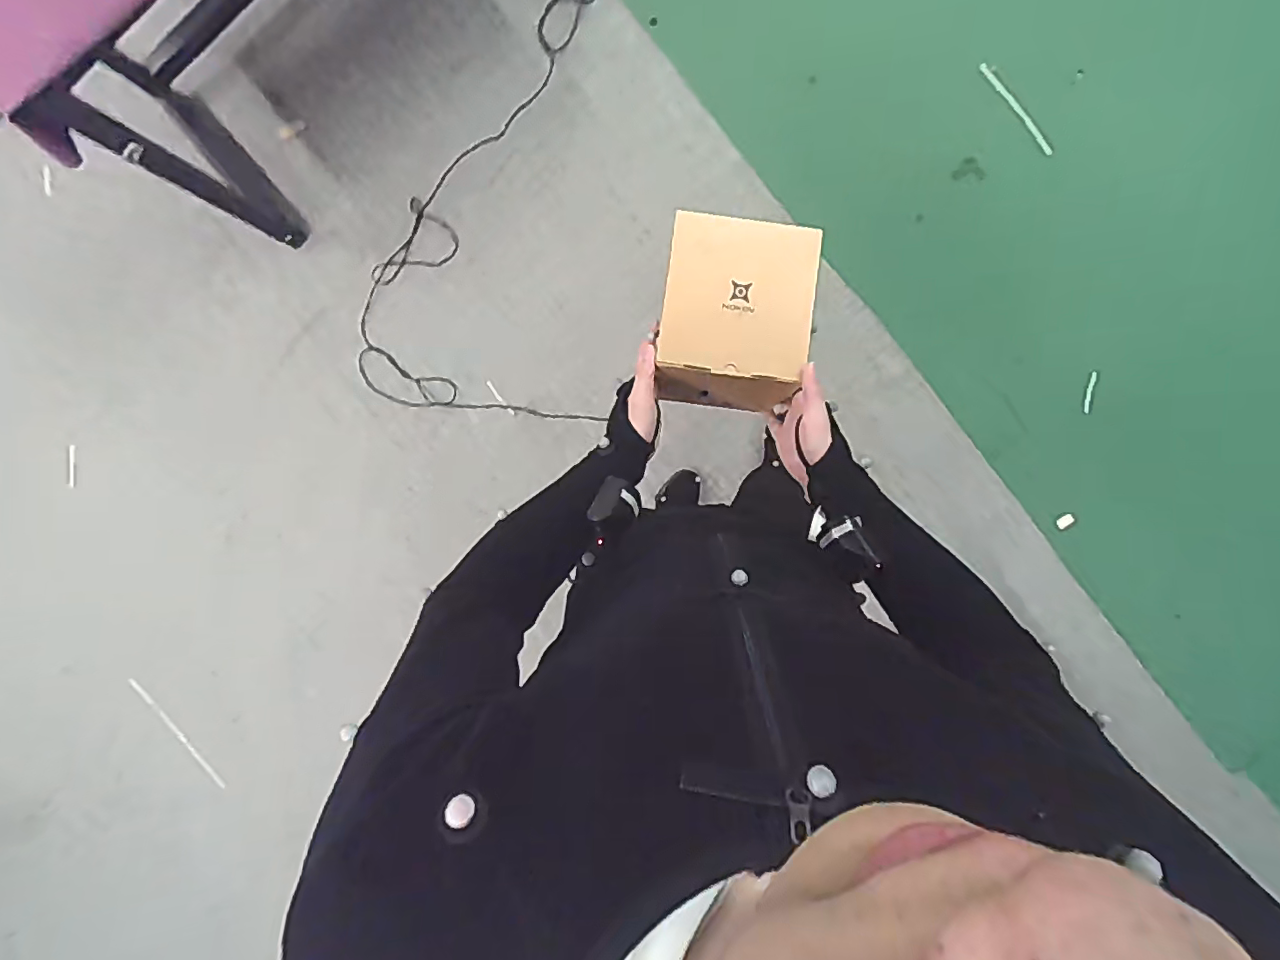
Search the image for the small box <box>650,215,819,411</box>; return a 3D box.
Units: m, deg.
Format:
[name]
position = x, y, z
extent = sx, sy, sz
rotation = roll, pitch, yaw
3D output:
[small box]
position = 0.105, -0.194, 0.675
extent = 0.168, 0.176, 0.179
rotation = 7, 88, -2
